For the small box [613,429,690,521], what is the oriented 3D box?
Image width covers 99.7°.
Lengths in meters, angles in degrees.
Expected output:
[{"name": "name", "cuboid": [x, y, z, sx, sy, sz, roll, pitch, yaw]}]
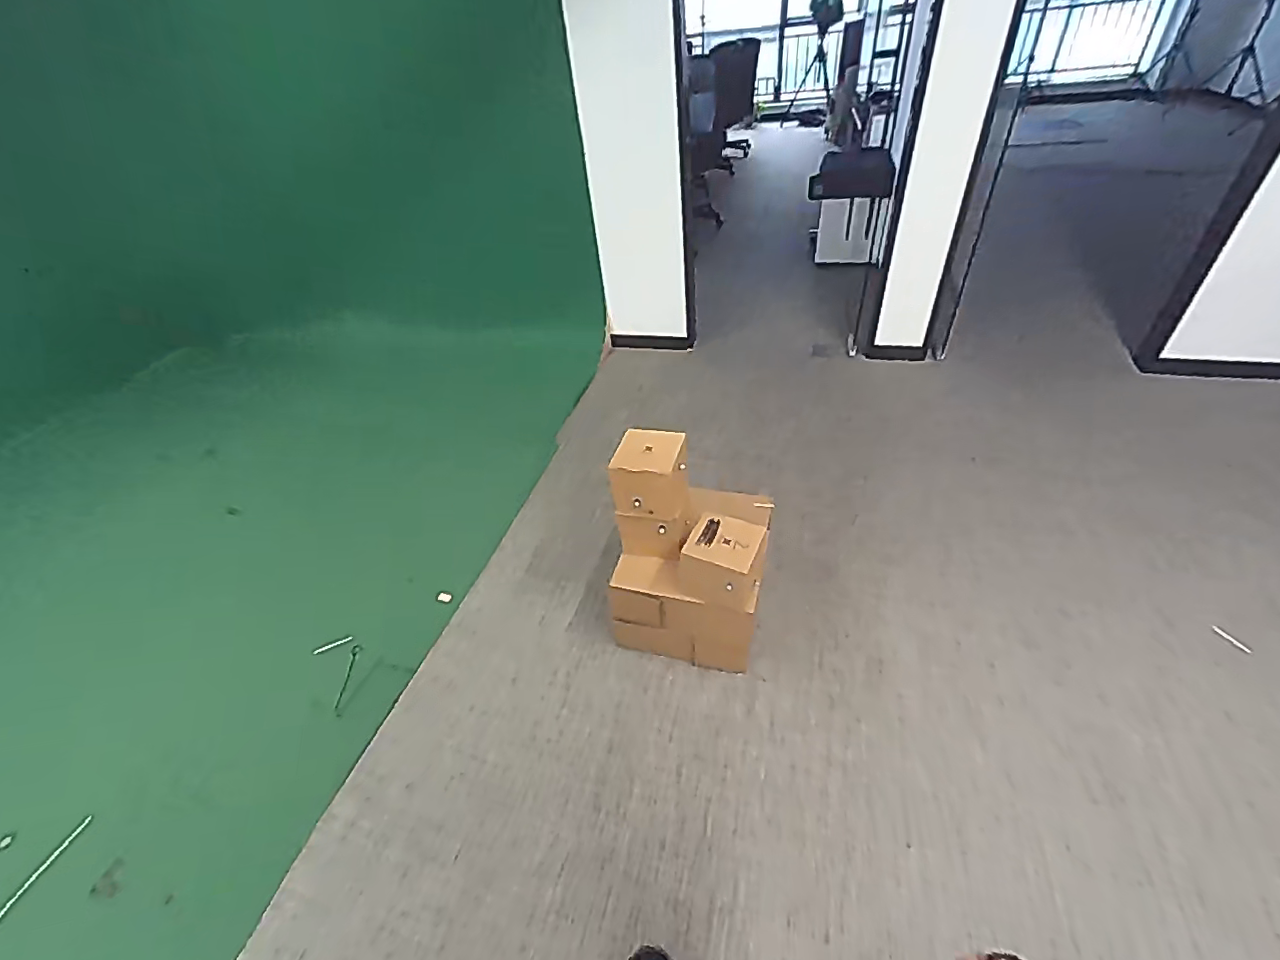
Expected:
[{"name": "small box", "cuboid": [0.038, -0.015, 1.465, 0.168, 0.176, 0.179, 7, 42, 17]}]

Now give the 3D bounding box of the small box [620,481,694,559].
[{"name": "small box", "cuboid": [0.057, 0.109, 1.568, 0.179, 0.176, 0.168, 6, 41, 16]}]
